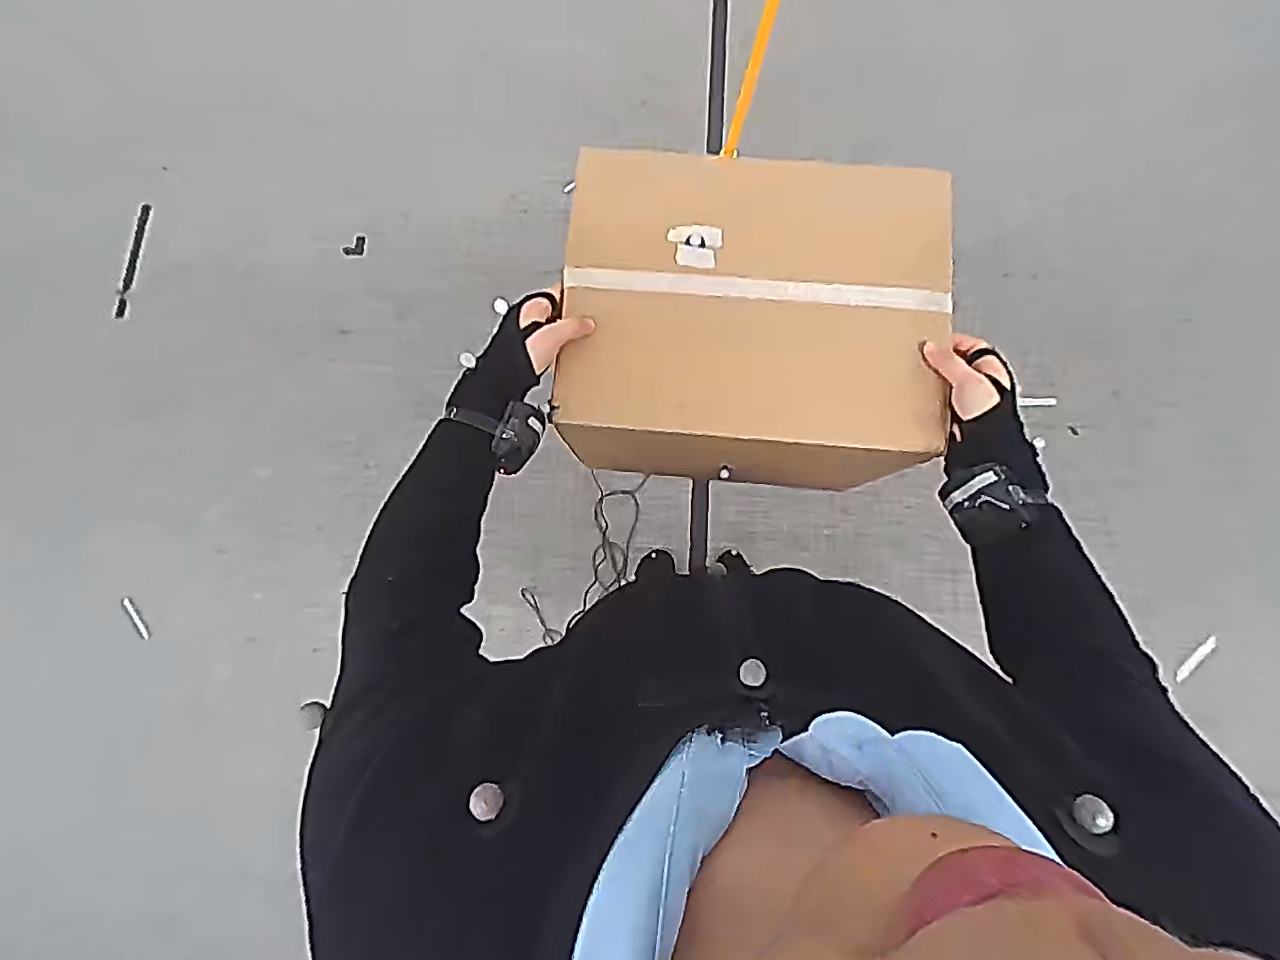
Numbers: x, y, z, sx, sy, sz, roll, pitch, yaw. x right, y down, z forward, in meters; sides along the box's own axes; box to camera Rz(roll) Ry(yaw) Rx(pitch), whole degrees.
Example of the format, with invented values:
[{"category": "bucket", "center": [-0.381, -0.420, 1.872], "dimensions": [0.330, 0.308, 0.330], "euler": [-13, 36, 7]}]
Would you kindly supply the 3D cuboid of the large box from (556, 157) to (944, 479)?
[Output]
[{"category": "large box", "center": [0.127, -0.180, 0.722], "dimensions": [0.408, 0.320, 0.320], "euler": [4, 81, 3]}]
